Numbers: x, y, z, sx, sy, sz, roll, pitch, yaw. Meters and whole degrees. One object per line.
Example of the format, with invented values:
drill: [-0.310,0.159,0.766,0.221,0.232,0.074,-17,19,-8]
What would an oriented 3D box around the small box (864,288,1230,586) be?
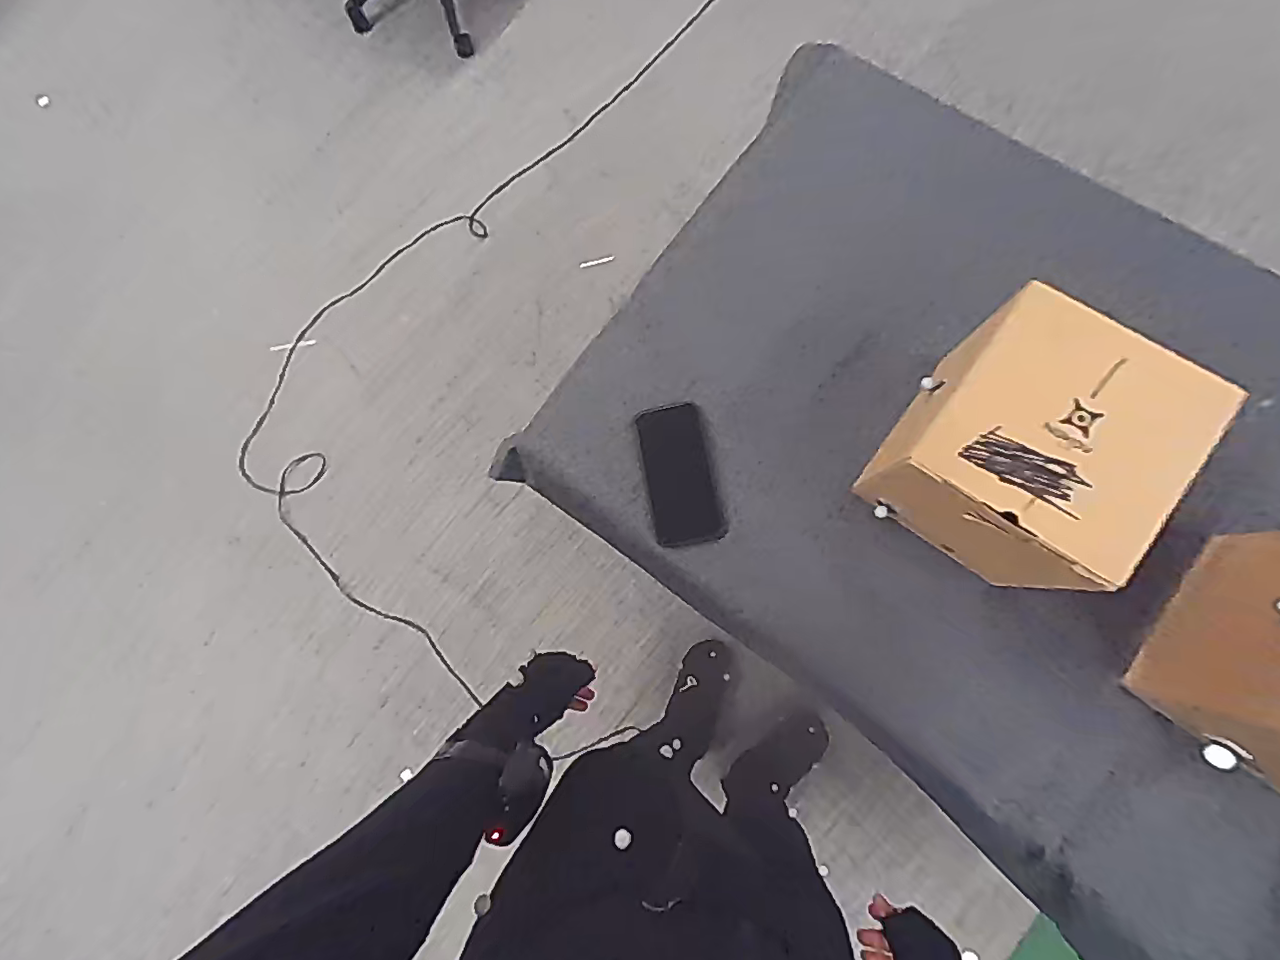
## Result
small box: [0.326,-0.024,0.482,0.168,0.176,0.179,36,85,11]

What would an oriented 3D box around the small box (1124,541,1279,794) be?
small box: [0.552,0.157,0.426,0.168,0.176,0.179,35,87,12]
